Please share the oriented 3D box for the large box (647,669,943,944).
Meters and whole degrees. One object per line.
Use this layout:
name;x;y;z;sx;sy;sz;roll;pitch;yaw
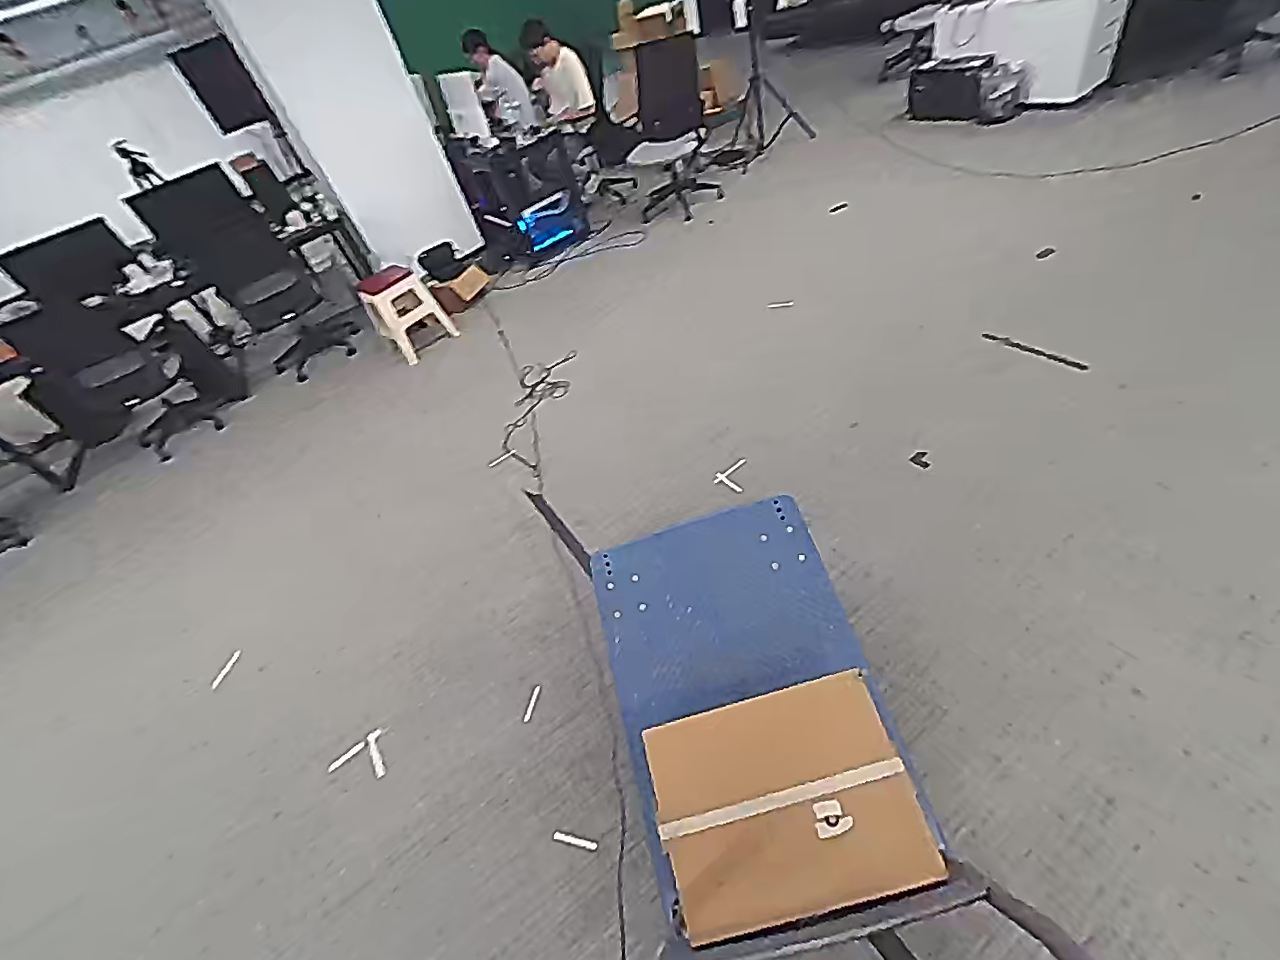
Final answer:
large box;0.265;0.598;1.029;0.408;0.320;0.320;-18;61;2
